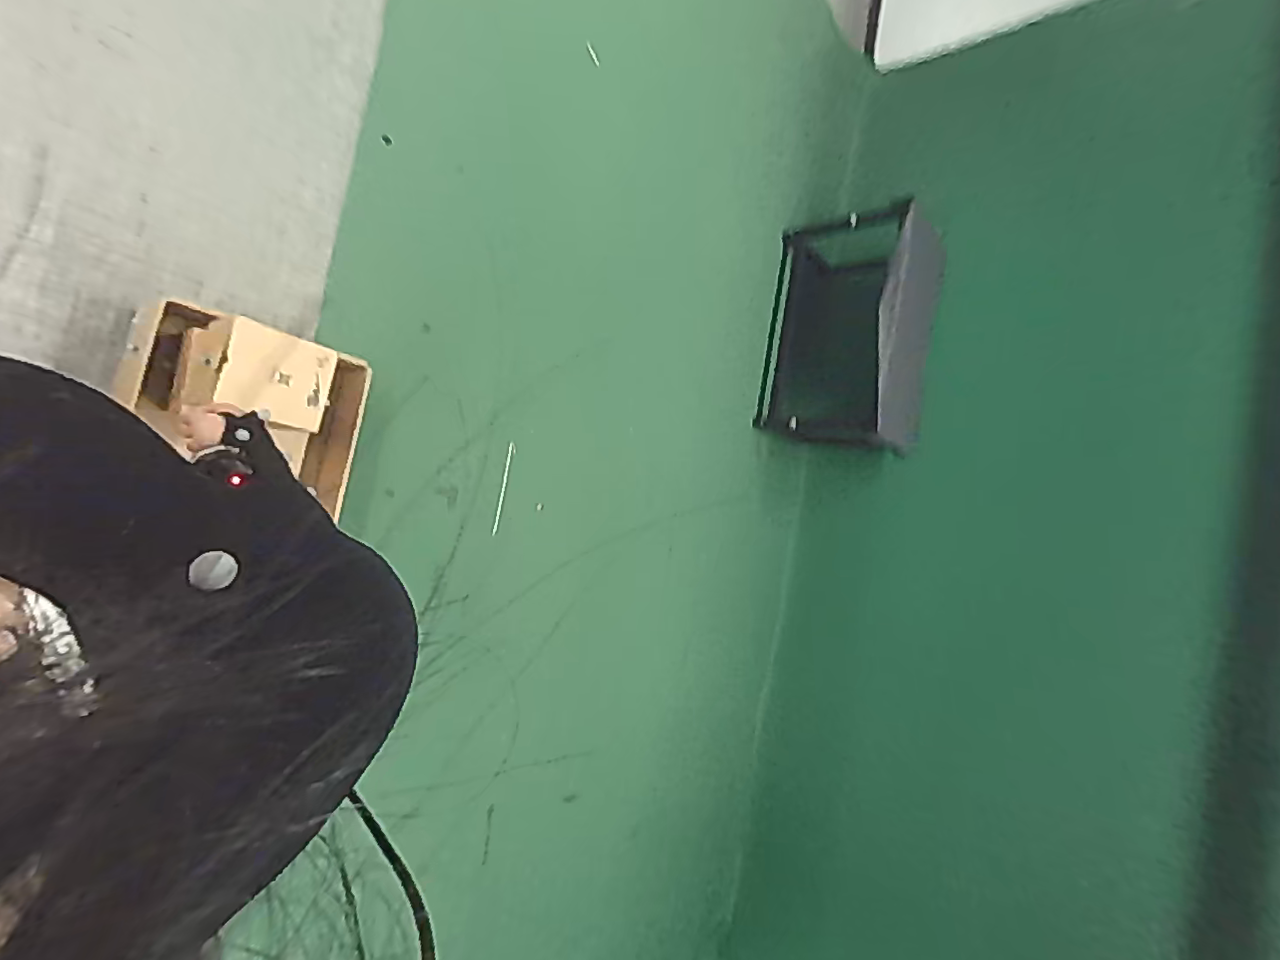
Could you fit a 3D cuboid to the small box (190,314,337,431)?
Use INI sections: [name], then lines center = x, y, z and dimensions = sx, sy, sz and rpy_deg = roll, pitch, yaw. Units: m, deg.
[small box]
center = -0.722, -0.196, 1.035
dimensions = 0.179, 0.176, 0.168
rpy_deg = 19, 81, -49
